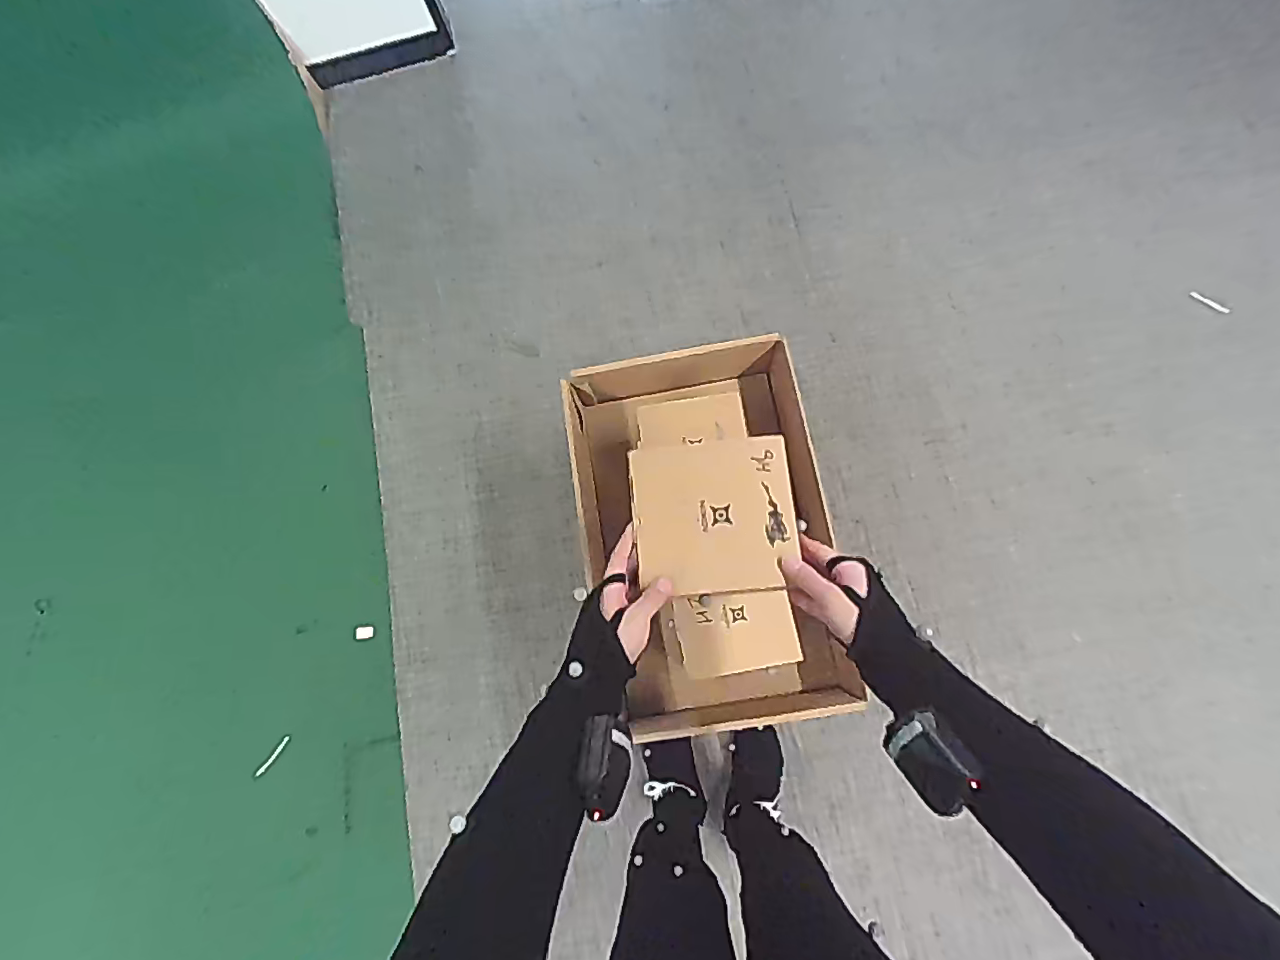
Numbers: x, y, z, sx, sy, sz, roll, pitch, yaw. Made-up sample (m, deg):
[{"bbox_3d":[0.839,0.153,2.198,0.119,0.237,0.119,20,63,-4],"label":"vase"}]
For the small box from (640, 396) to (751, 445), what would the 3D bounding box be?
[{"bbox_3d":[0.100,-0.033,0.948,0.179,0.176,0.168,-7,77,2],"label":"small box"}]

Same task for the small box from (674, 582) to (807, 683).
[{"bbox_3d":[0.151,0.222,0.882,0.179,0.176,0.168,-11,76,2],"label":"small box"}]

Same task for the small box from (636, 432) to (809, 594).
[{"bbox_3d":[0.093,0.051,0.662,0.179,0.176,0.168,-5,77,4],"label":"small box"}]
